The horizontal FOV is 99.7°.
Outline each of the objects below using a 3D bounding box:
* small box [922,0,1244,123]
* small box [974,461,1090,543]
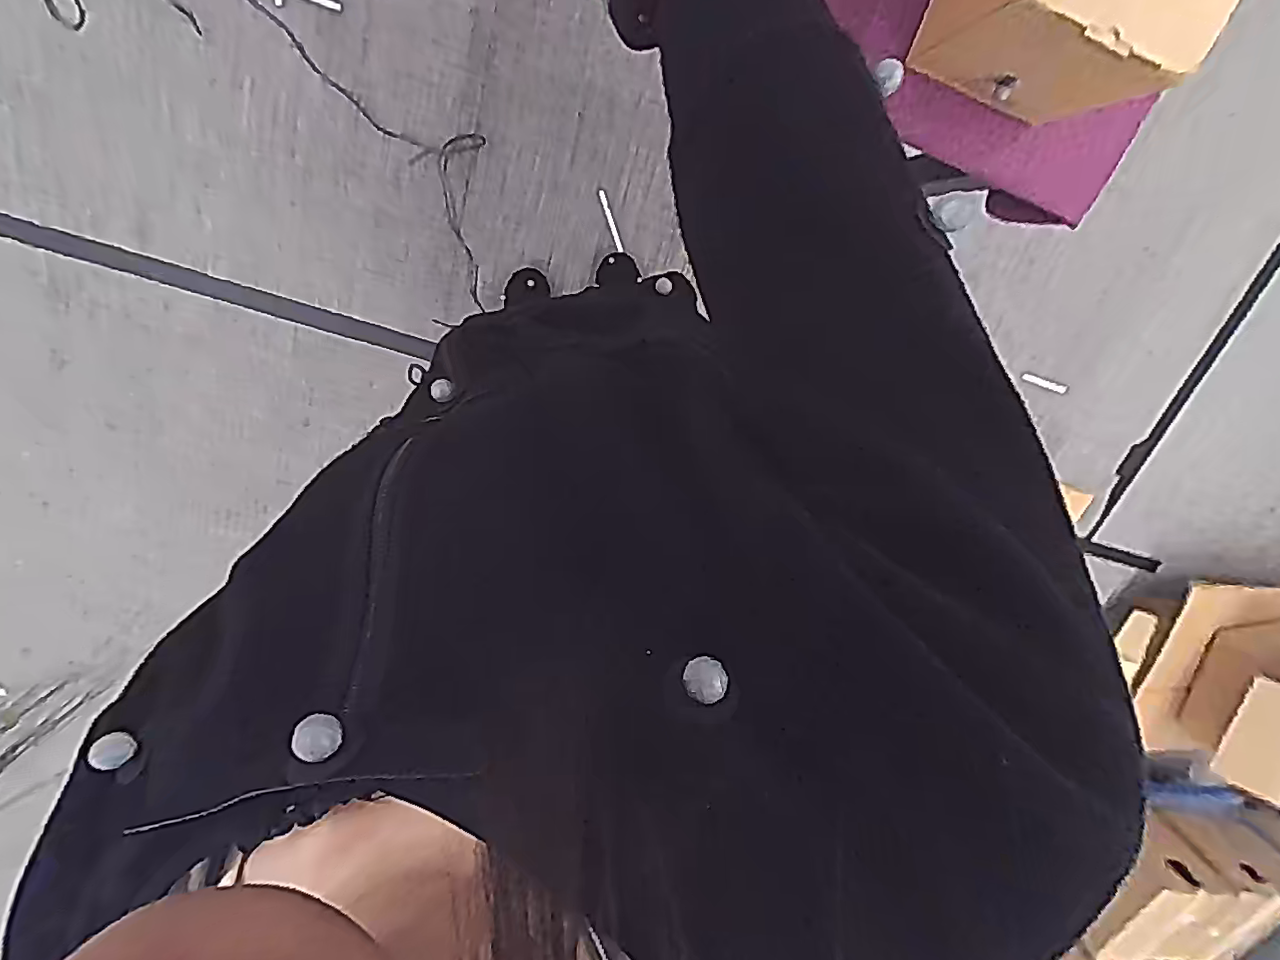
[{"bbox_3d":[0.383,-0.441,0.458,0.168,0.176,0.179,15,111,-11],"label":"small box"},{"bbox_3d":[1.128,0.058,1.573,0.179,0.176,0.168,13,113,-13],"label":"small box"}]
